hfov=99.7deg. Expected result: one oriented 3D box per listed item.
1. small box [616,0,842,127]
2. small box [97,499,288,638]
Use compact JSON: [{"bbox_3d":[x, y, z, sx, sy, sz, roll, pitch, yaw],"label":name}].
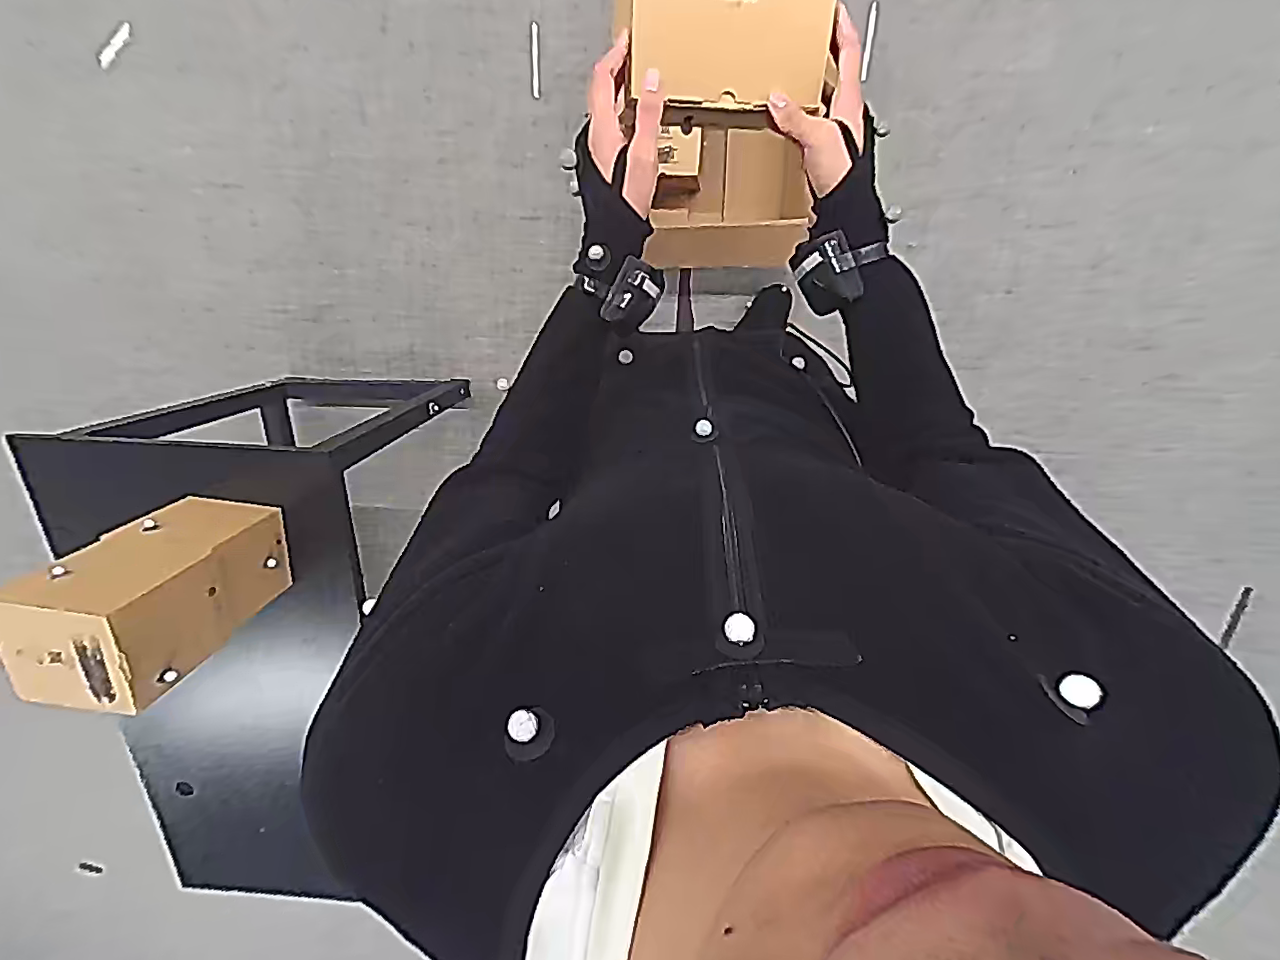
[{"bbox_3d":[0.067,-0.426,0.474,0.168,0.176,0.179,-2,119,-7],"label":"small box"},{"bbox_3d":[-0.751,0.143,0.929,0.179,0.176,0.168,8,112,1],"label":"small box"}]
